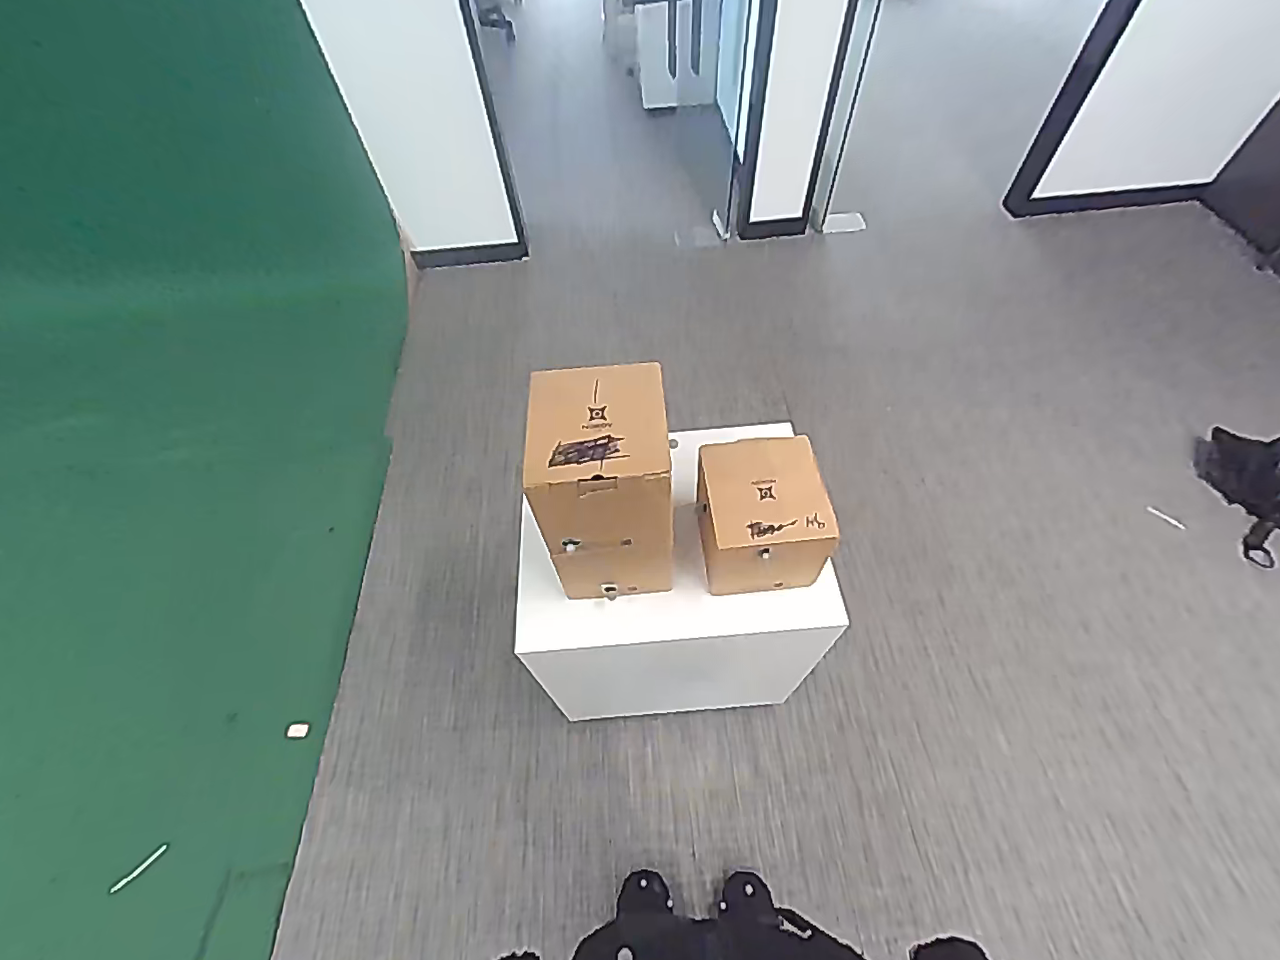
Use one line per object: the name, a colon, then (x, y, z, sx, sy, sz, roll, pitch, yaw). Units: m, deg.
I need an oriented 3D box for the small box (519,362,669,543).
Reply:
small box: (-0.050, -0.027, 0.702, 0.168, 0.176, 0.179, -4, 55, 1)

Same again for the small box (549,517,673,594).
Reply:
small box: (-0.044, 0.055, 0.825, 0.168, 0.176, 0.179, -7, 58, -1)

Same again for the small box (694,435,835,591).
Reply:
small box: (0.177, 0.053, 0.830, 0.168, 0.176, 0.179, -5, 56, 0)
